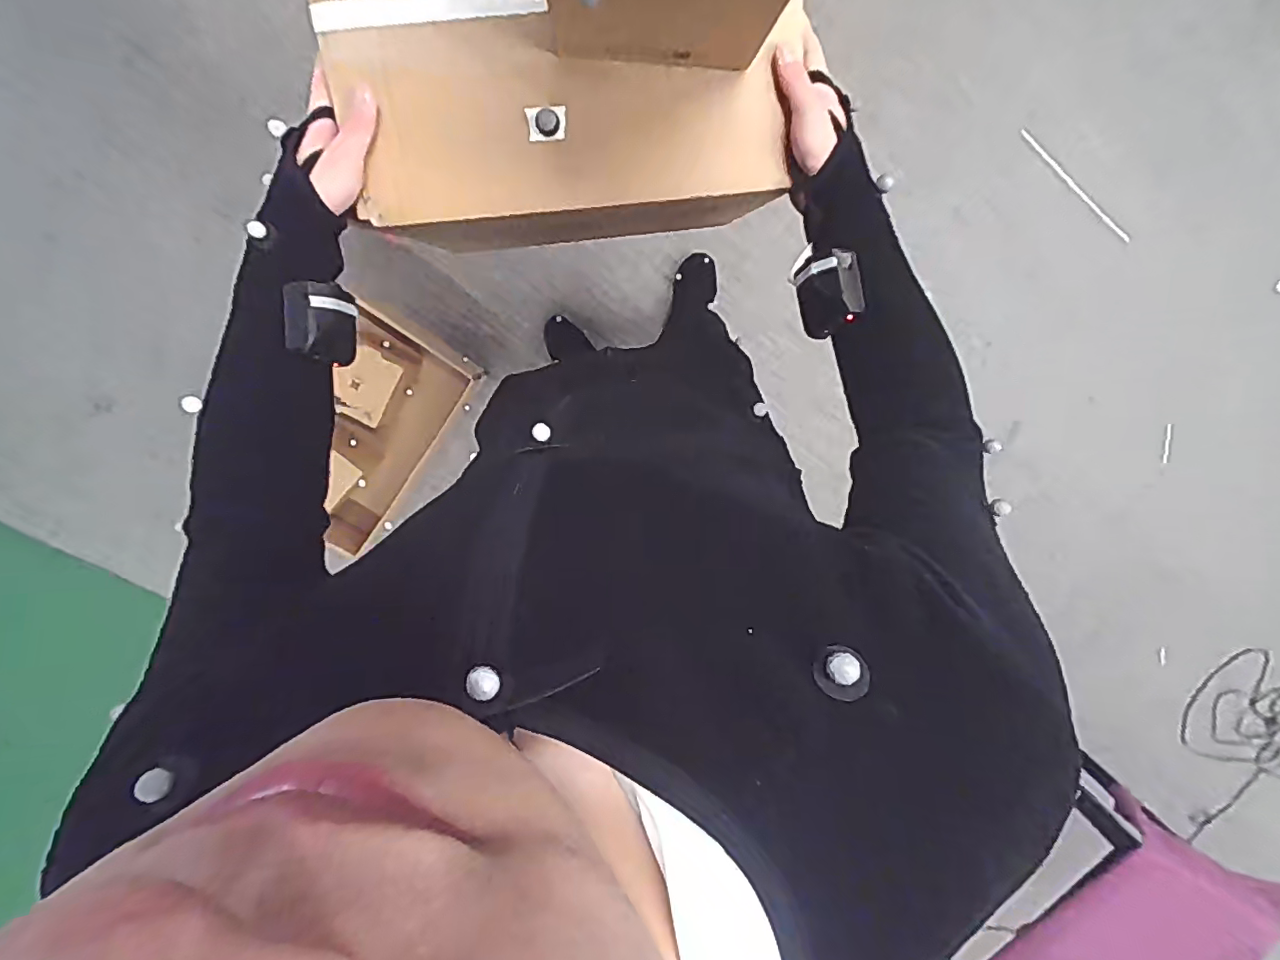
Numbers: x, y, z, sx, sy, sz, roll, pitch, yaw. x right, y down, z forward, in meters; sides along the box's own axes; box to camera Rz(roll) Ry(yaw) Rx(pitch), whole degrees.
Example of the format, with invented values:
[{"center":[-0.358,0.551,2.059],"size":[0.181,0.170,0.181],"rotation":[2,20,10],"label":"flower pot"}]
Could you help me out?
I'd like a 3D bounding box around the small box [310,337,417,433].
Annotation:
[{"center":[-0.690,-0.249,1.375],"size":[0.168,0.176,0.179],"rotation":[29,104,-14],"label":"small box"}]
